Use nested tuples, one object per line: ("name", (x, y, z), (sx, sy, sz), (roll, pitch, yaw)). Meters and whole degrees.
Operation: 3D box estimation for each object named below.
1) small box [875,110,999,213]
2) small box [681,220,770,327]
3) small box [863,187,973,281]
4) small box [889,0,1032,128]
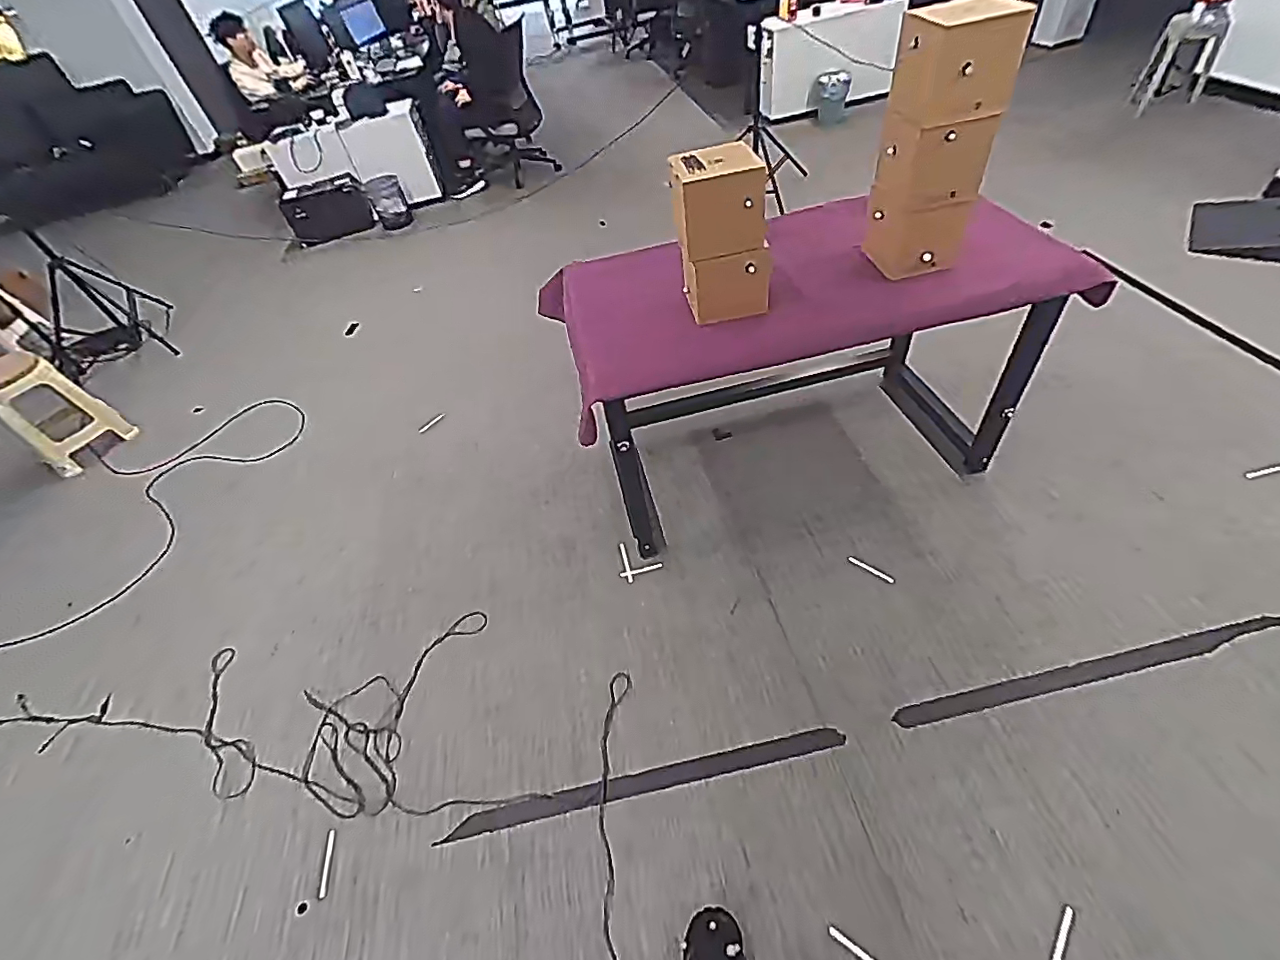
("small box", (0.644, -0.720, 1.201), (0.168, 0.176, 0.179), (-11, 47, 2))
("small box", (0.205, -0.498, 1.312), (0.179, 0.176, 0.168), (-12, 47, 1))
("small box", (0.668, -0.616, 1.326), (0.168, 0.176, 0.179), (-12, 48, 1))
("small box", (0.622, -0.822, 1.076), (0.168, 0.176, 0.179), (-11, 47, 2))
